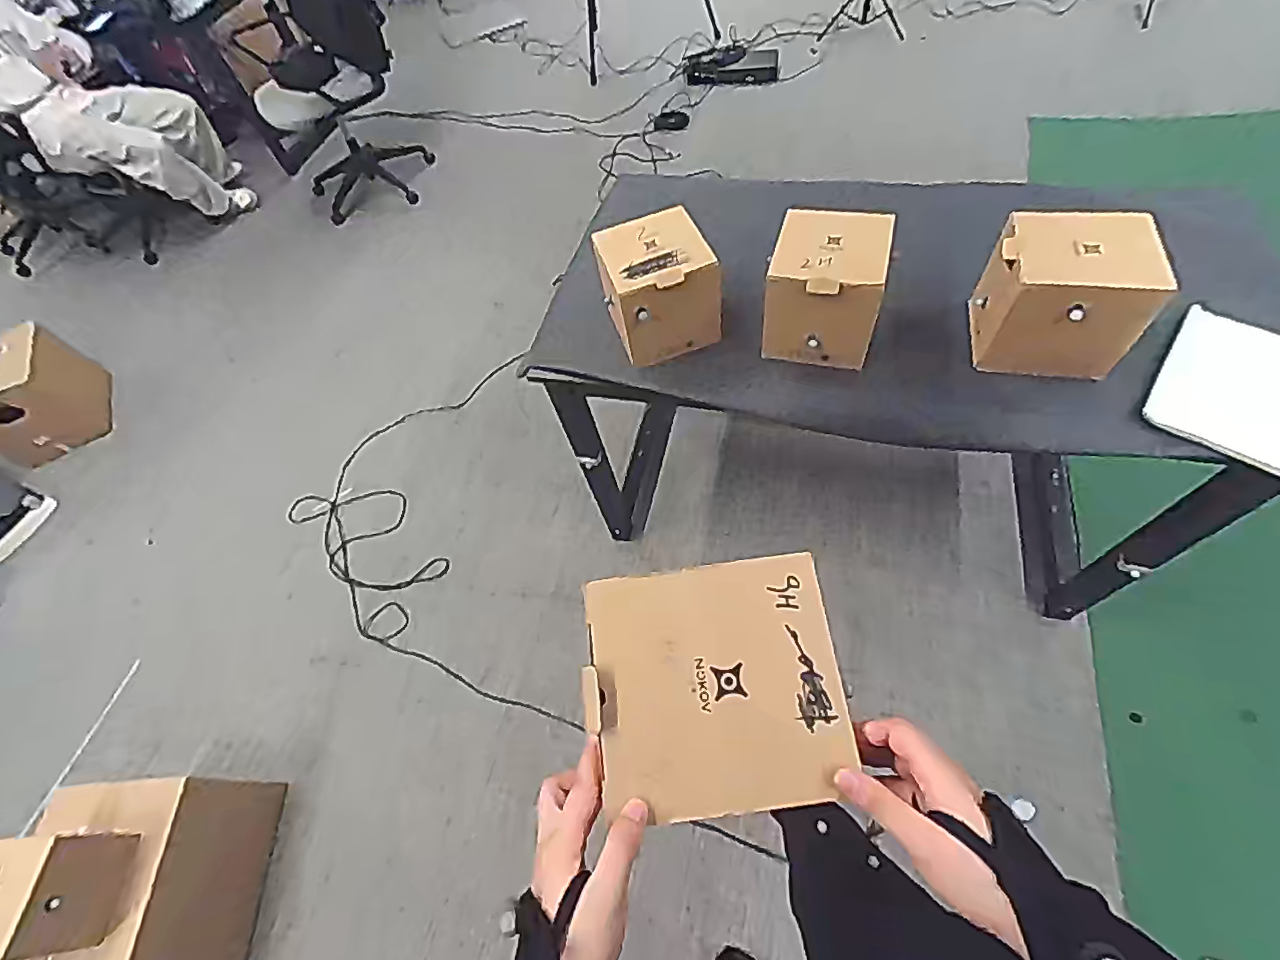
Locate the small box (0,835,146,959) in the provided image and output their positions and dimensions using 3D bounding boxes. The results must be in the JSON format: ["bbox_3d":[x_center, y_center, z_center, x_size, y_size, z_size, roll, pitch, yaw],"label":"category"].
[{"bbox_3d":[-1.067,0.757,0.982,0.168,0.176,0.179,-6,58,5],"label":"small box"}]

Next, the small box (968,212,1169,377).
[{"bbox_3d":[0.616,-0.272,0.805,0.179,0.176,0.168,7,59,16],"label":"small box"}]

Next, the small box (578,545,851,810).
[{"bbox_3d":[0.052,0.164,0.463,0.179,0.176,0.168,-8,70,1],"label":"small box"}]

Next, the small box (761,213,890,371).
[{"bbox_3d":[0.296,-0.307,0.886,0.168,0.176,0.179,11,60,18],"label":"small box"}]
